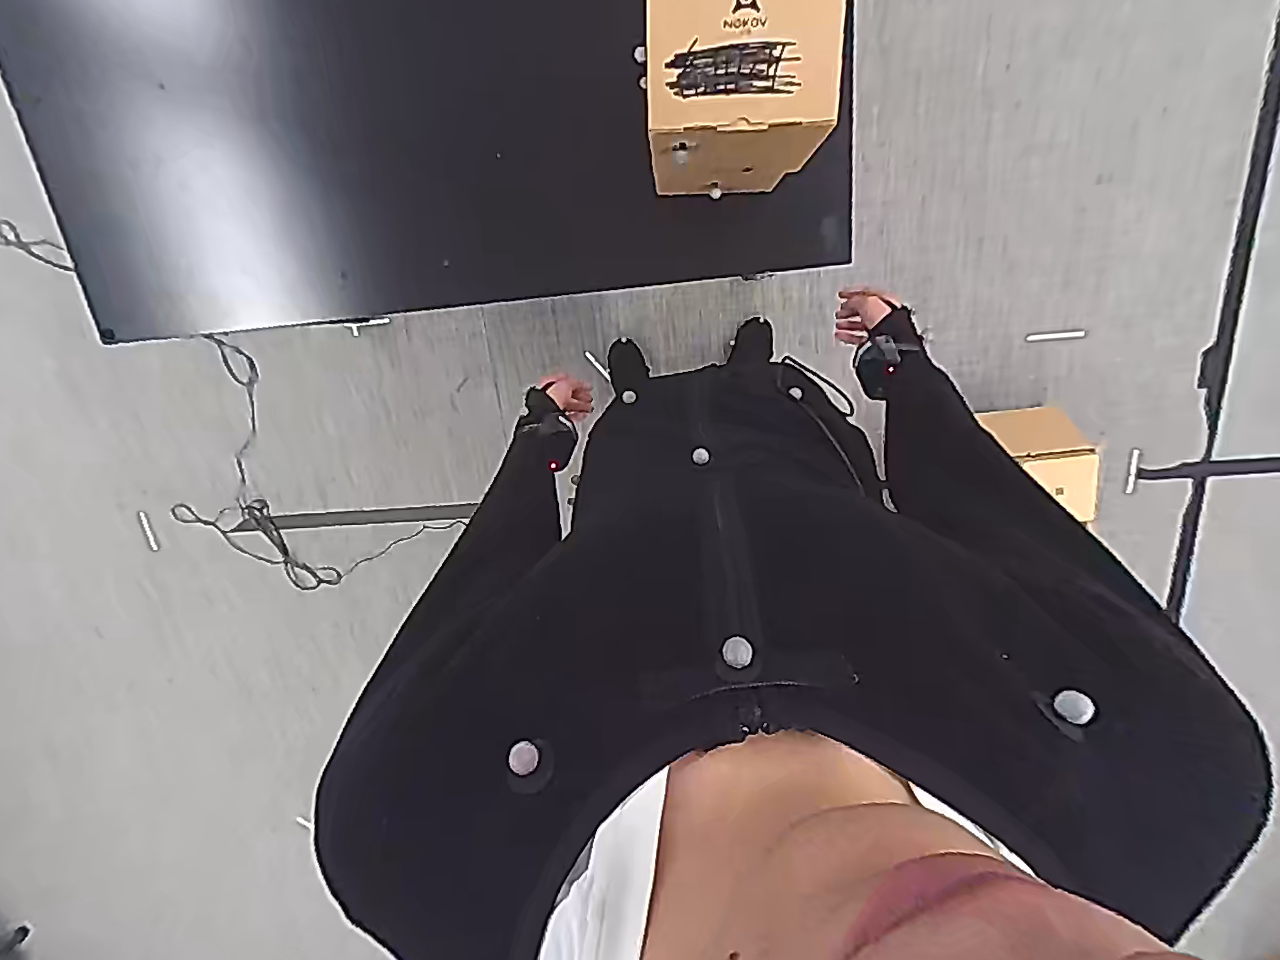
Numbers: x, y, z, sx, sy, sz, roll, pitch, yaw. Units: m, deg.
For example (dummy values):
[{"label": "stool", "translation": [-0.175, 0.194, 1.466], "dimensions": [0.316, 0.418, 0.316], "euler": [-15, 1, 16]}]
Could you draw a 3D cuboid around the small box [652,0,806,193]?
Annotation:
[{"label": "small box", "translation": [0.099, -0.472, 0.669], "dimensions": [0.168, 0.176, 0.179], "euler": [0, 107, 4]}]
